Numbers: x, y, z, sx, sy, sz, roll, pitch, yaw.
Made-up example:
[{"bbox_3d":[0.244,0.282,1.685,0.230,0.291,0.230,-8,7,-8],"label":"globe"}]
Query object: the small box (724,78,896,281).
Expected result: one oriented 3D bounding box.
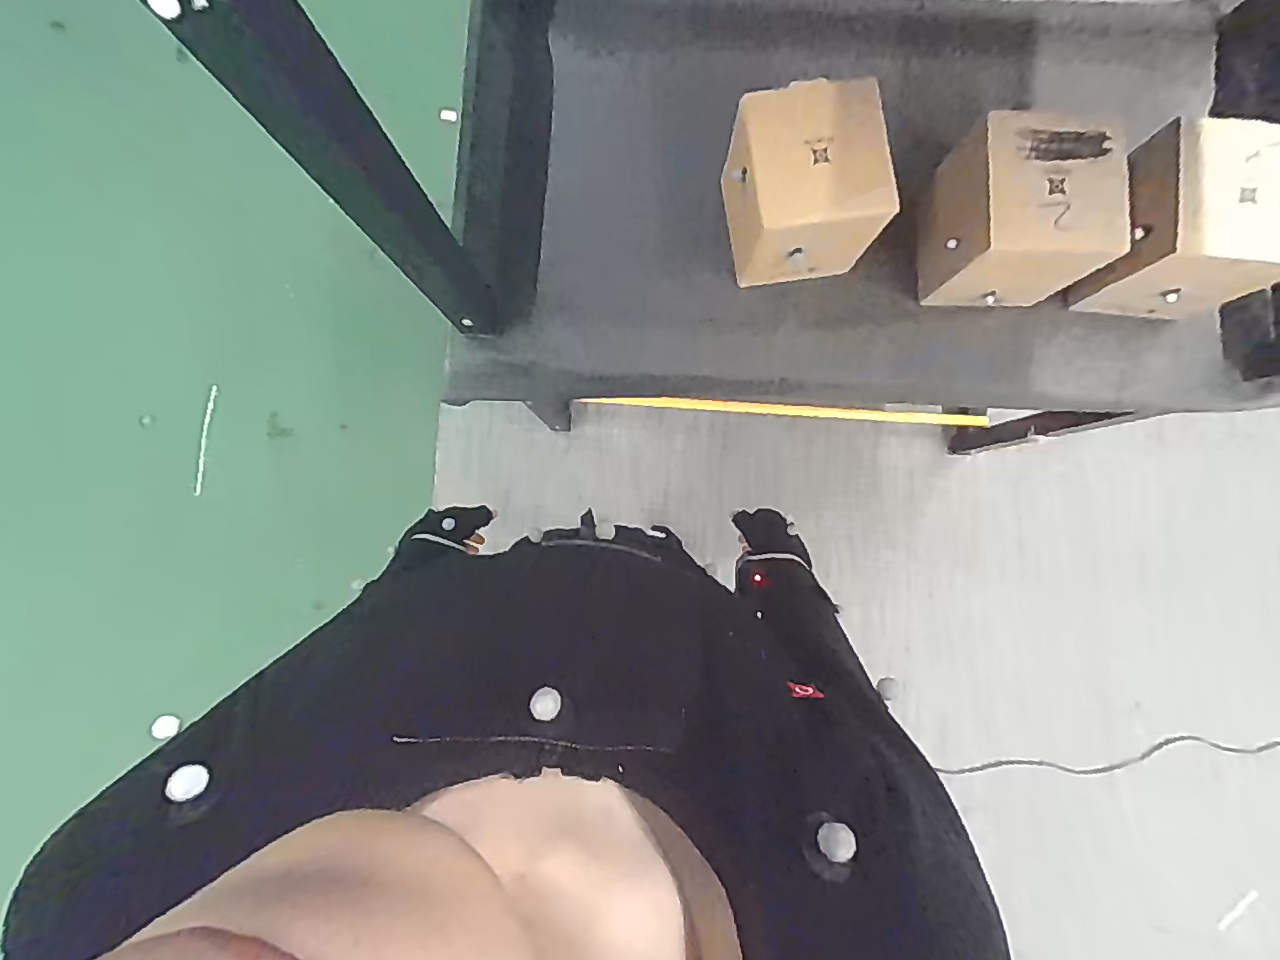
[{"bbox_3d":[0.214,-0.385,0.726,0.168,0.176,0.179,-8,85,0],"label":"small box"}]
